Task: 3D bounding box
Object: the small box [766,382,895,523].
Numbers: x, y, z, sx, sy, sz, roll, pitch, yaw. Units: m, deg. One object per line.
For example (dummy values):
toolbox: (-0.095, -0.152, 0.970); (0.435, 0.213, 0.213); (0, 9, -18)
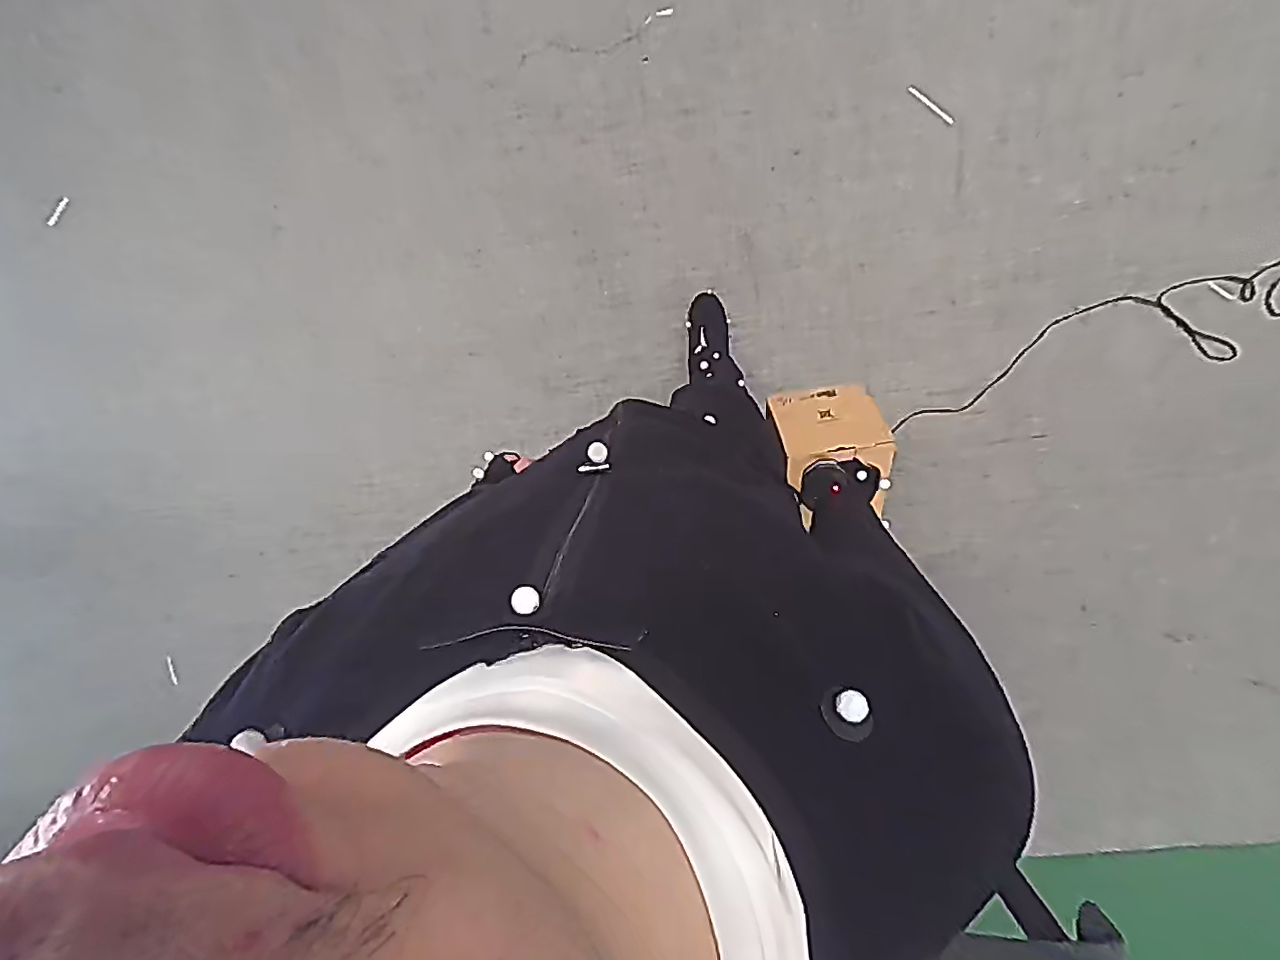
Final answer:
small box: (0.322, -0.041, 0.942); (0.168, 0.179, 0.176); (-10, 133, 5)
